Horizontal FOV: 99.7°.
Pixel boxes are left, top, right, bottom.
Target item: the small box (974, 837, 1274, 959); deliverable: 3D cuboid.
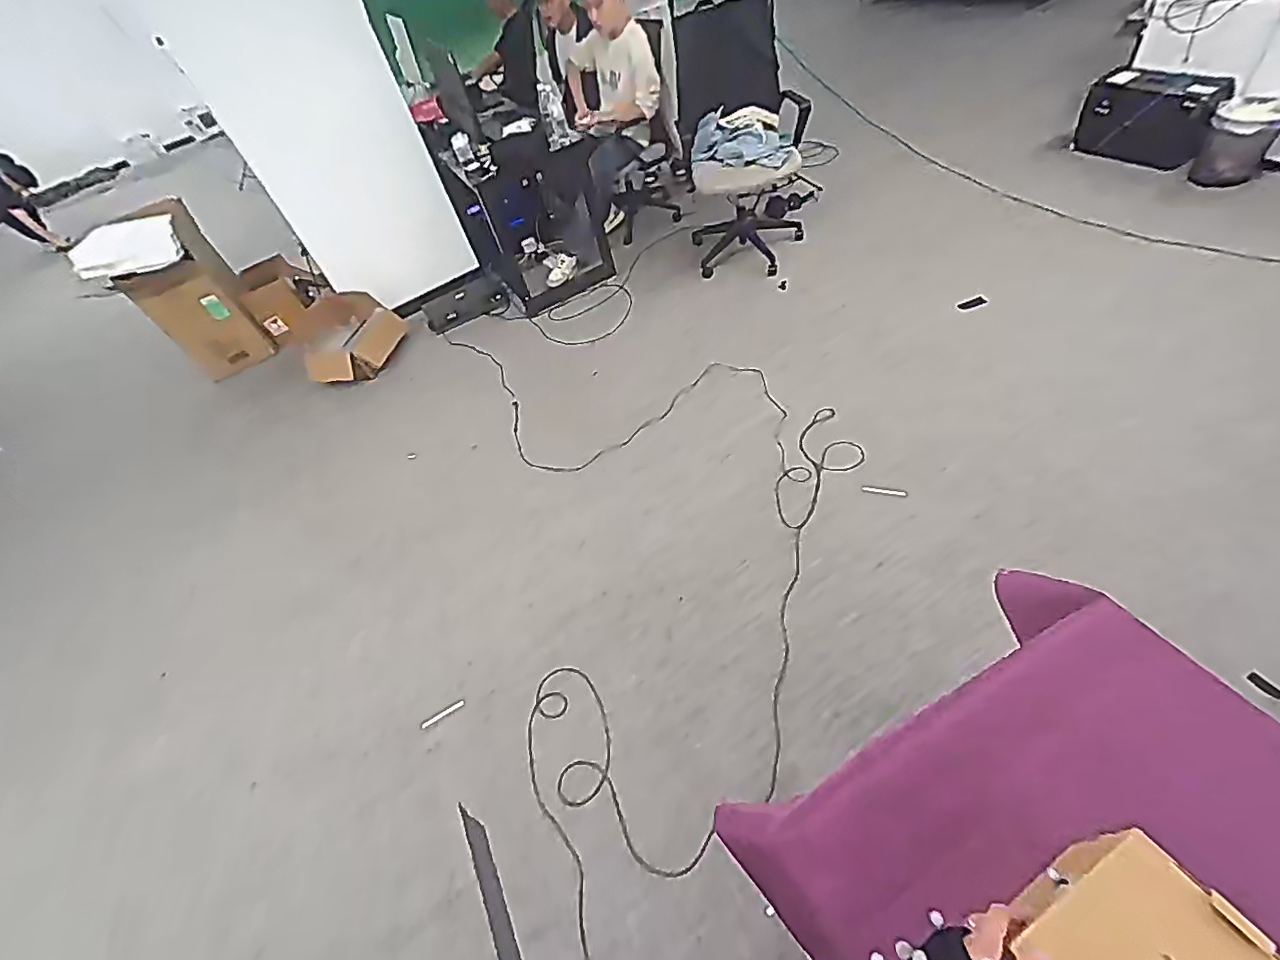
[{"bbox_3d":[0.451,0.471,0.501,0.179,0.176,0.168,-30,49,-10],"label":"small box"}]
